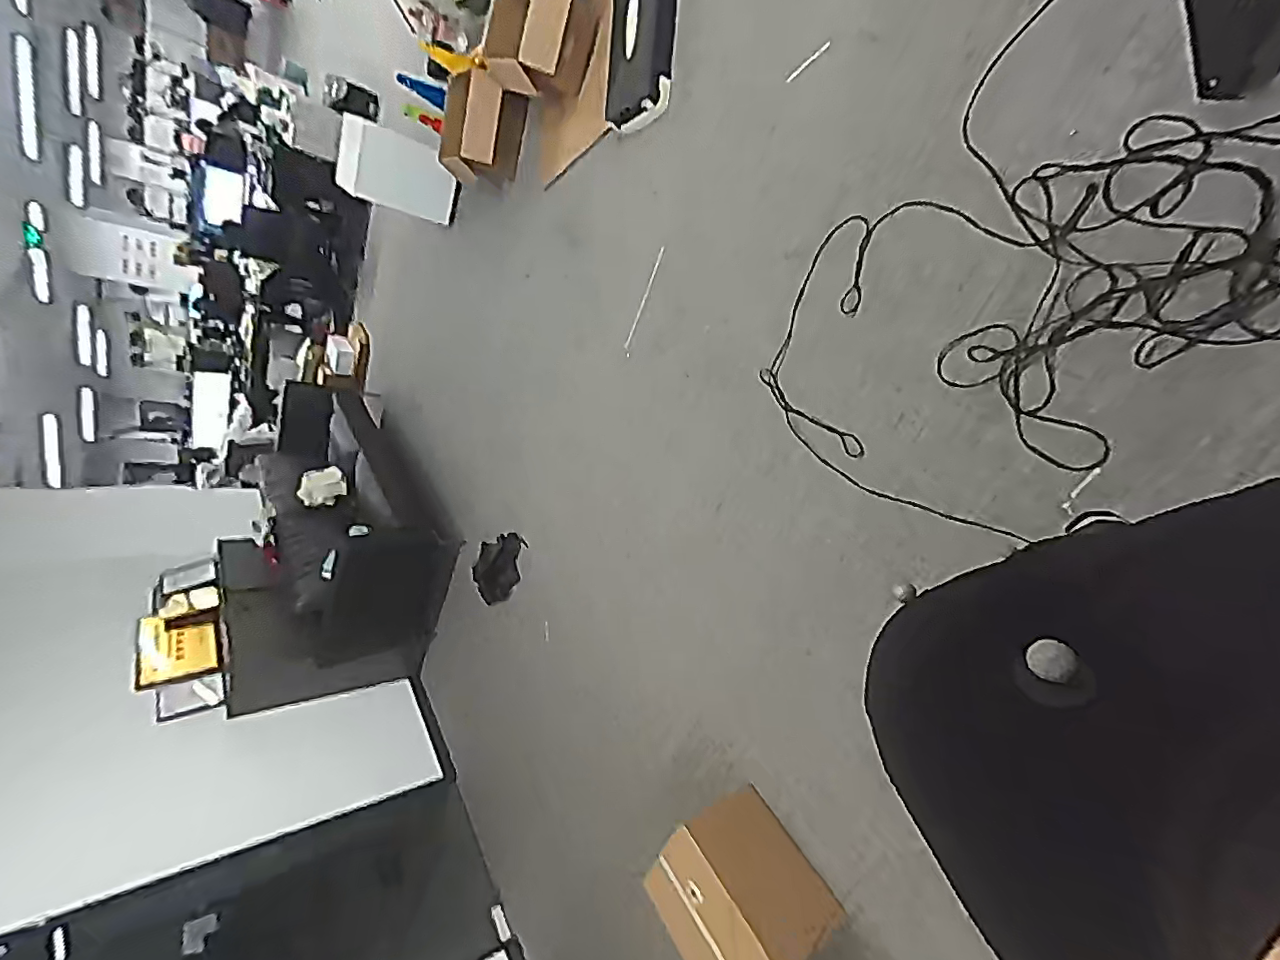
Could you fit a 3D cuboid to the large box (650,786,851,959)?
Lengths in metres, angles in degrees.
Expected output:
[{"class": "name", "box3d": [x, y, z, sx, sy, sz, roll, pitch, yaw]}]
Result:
[{"class": "large box", "box3d": [0.301, 1.187, 1.537, 0.408, 0.320, 0.320, 45, 121, 41]}]
